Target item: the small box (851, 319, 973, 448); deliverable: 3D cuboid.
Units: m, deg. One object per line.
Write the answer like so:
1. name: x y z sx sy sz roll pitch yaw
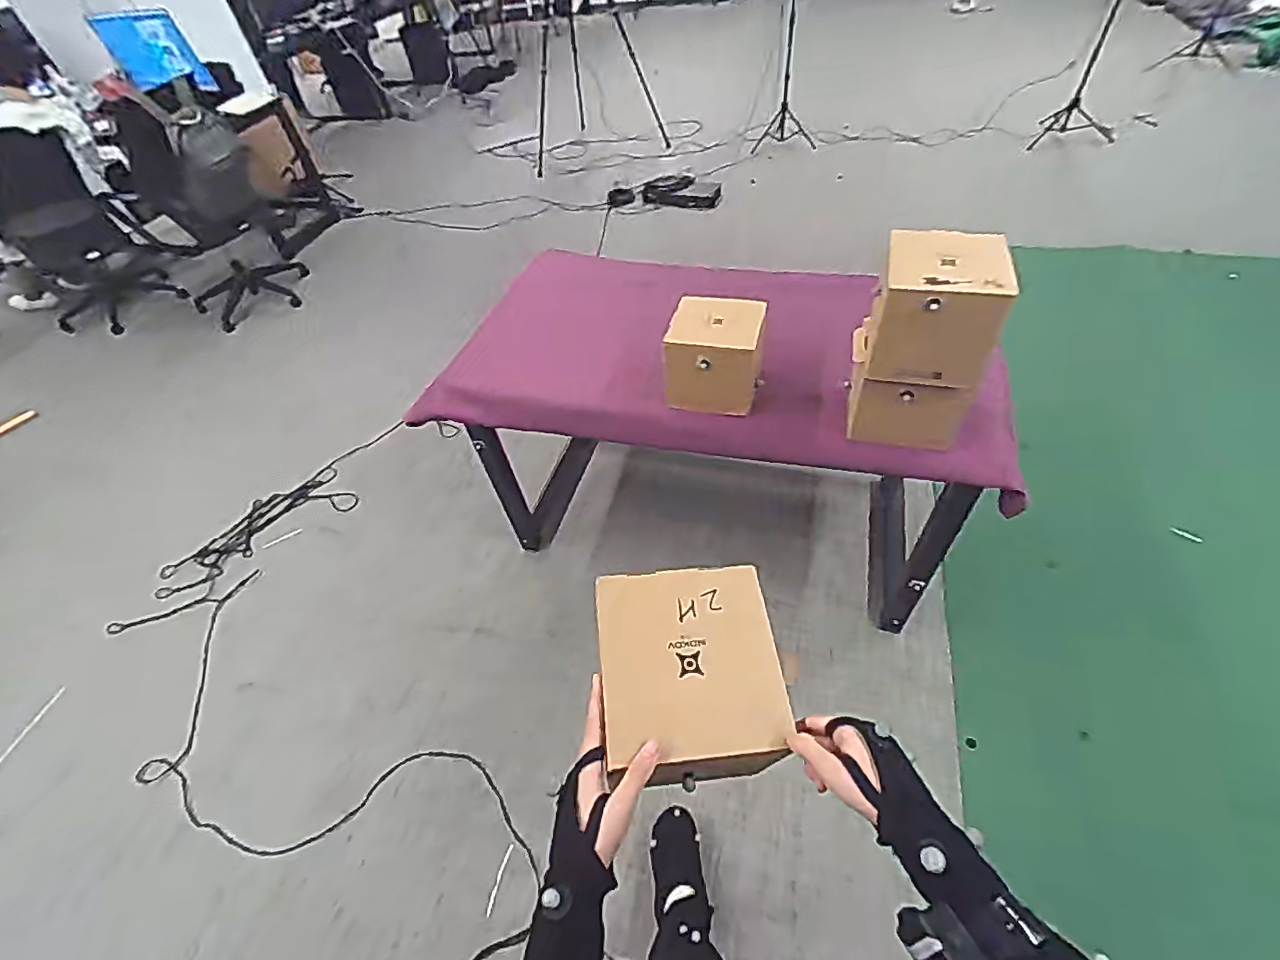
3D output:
1. small box: 0.492 -0.176 0.994 0.179 0.176 0.168 8 52 14

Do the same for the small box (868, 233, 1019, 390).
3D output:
1. small box: 0.468 -0.269 0.860 0.168 0.176 0.179 9 51 16

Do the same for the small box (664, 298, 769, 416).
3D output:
1. small box: 0.159 -0.250 1.106 0.179 0.176 0.168 10 51 16
